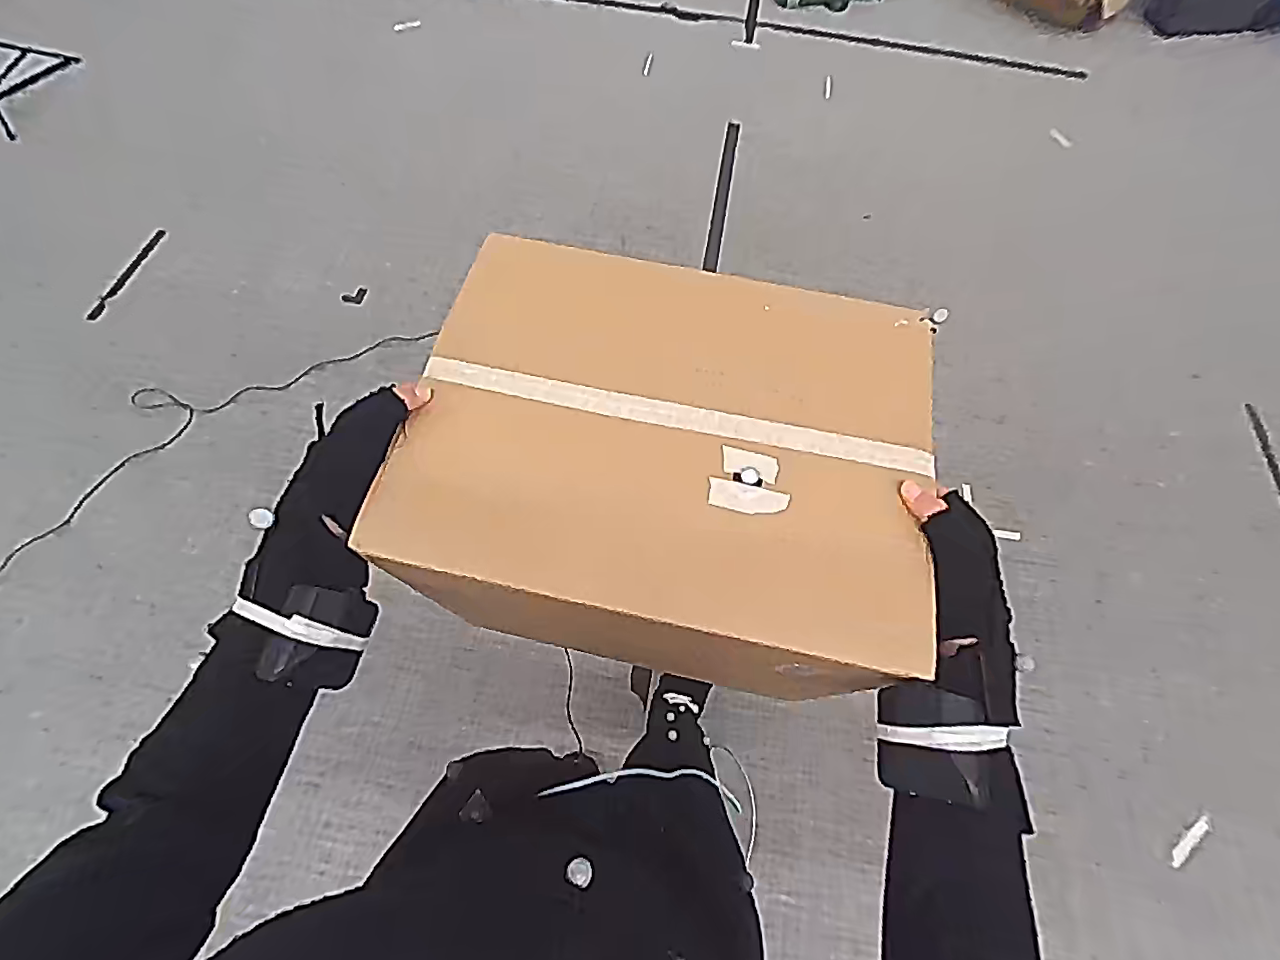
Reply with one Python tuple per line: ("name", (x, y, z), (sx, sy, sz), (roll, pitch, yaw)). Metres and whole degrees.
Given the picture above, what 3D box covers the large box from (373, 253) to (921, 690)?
("large box", (0.022, 0.016, 0.576), (0.408, 0.320, 0.320), (12, 67, 3))
